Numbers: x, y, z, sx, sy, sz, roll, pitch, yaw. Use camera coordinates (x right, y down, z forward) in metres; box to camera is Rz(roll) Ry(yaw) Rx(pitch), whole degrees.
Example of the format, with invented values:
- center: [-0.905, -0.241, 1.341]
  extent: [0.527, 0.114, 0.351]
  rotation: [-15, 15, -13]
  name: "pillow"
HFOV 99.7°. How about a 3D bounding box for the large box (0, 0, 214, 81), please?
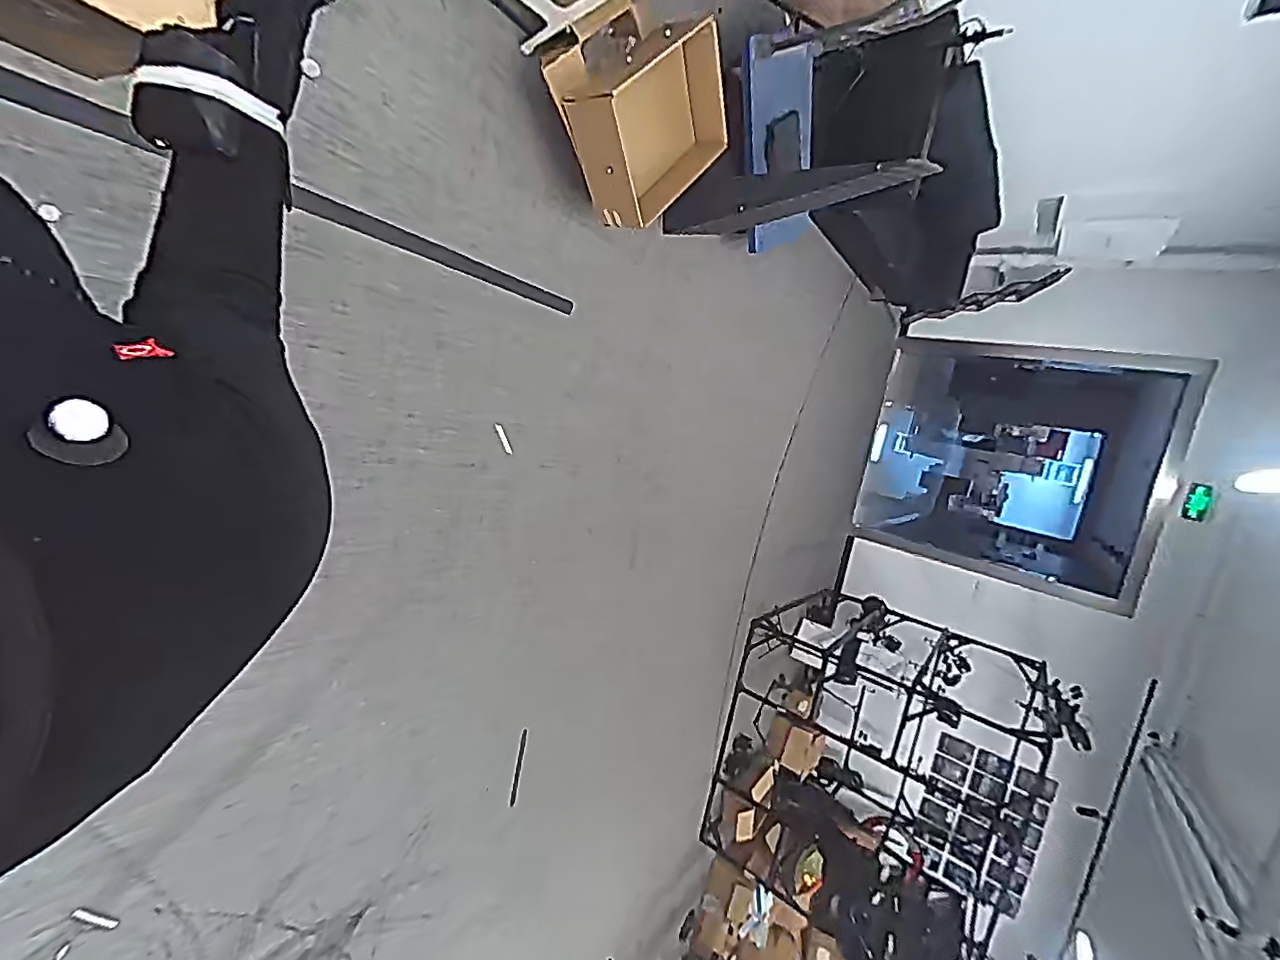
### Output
- center: [-0.492, -0.478, 0.263]
  extent: [0.408, 0.320, 0.320]
  rotation: [0, 112, -57]
  name: "large box"
